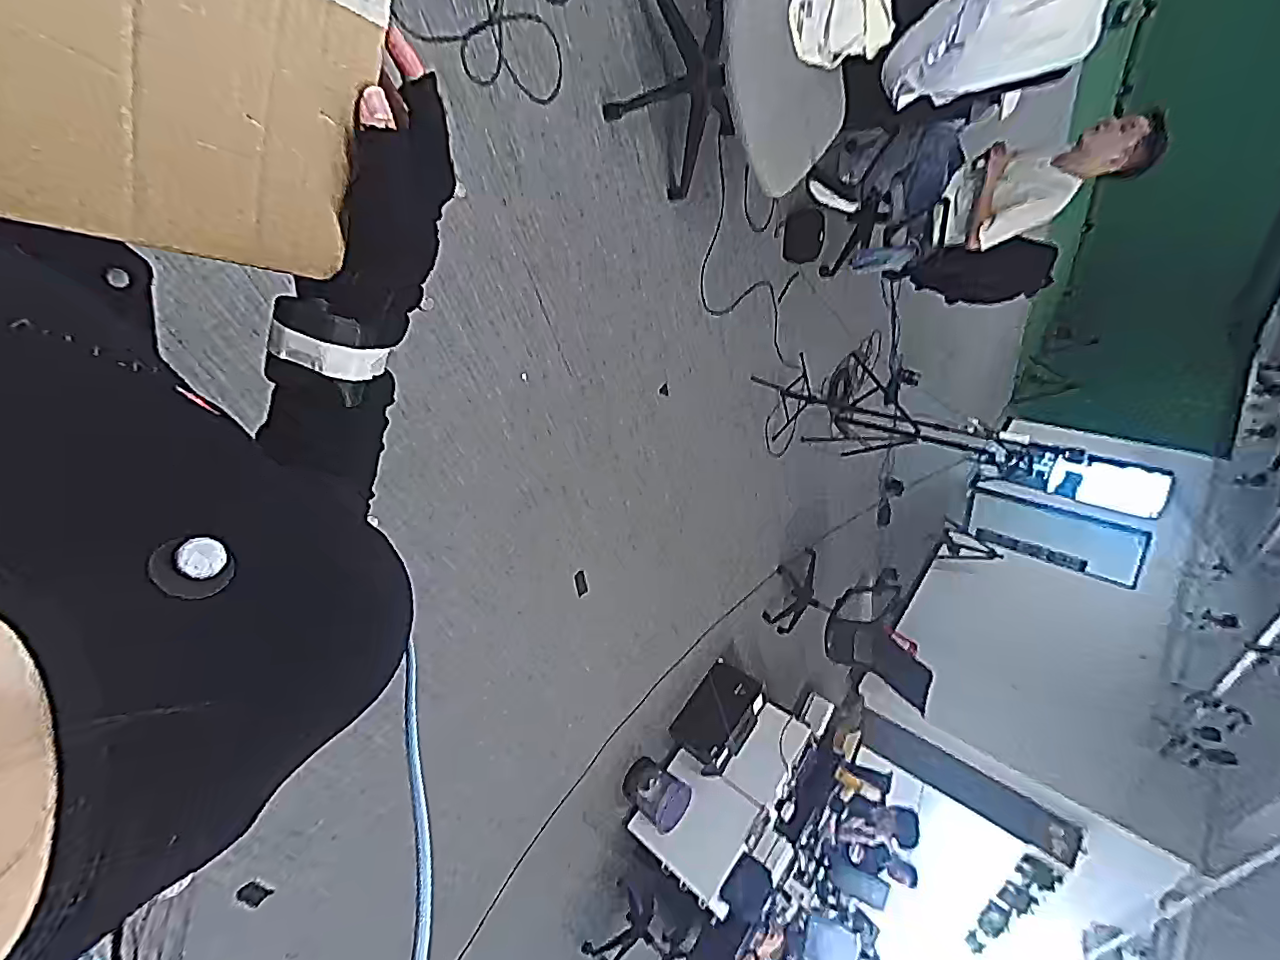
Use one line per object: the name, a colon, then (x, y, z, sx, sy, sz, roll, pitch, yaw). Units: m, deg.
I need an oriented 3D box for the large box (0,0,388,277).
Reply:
large box: (-0.367, -0.334, 0.232, 0.408, 0.320, 0.320, -5, 133, -46)
